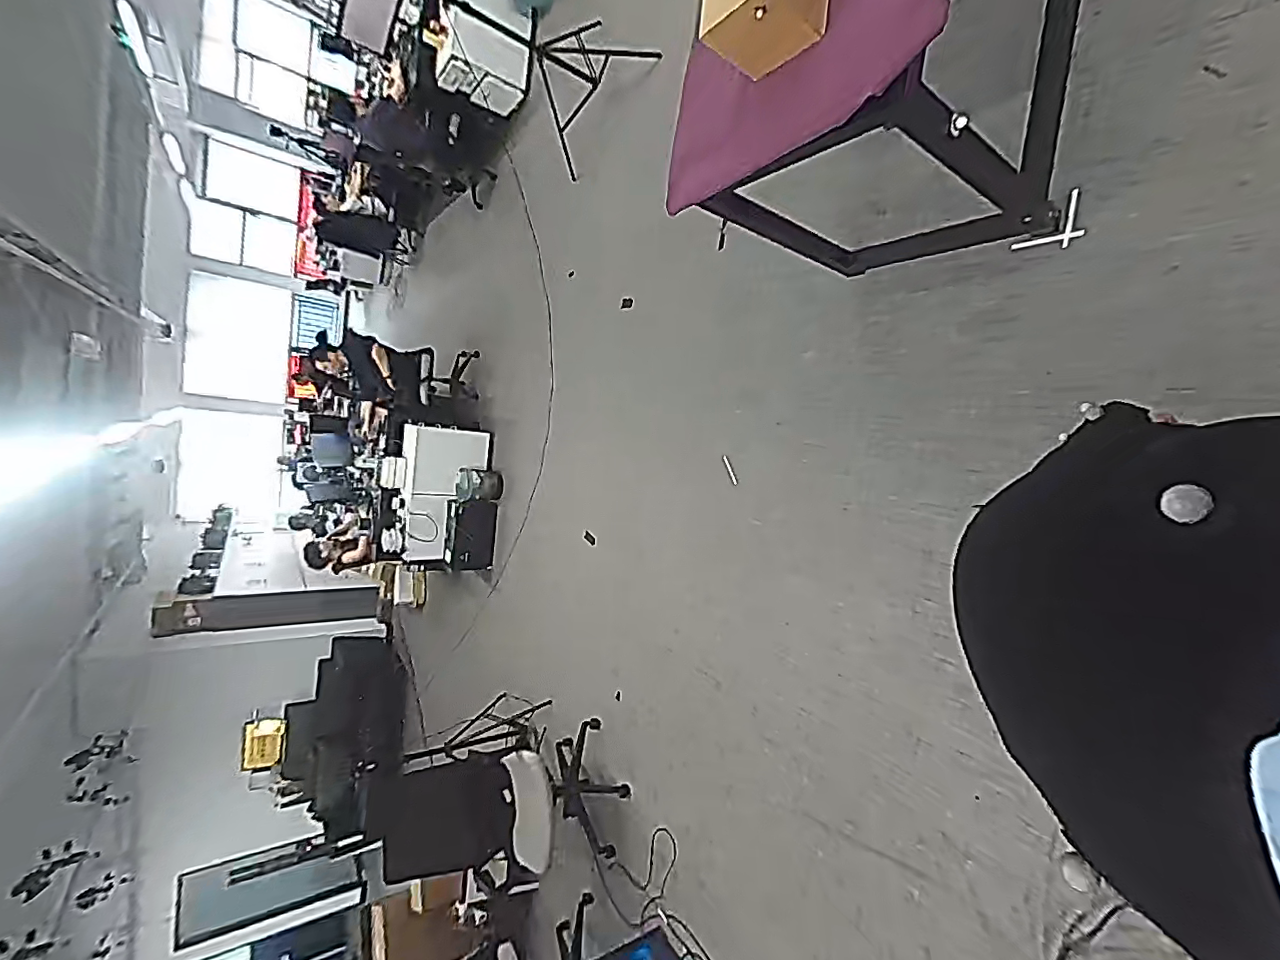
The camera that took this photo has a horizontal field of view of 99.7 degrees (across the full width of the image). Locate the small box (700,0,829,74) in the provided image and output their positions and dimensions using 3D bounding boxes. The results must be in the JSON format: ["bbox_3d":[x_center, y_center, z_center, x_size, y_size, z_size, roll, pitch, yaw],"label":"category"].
[{"bbox_3d":[0.241,-0.932,1.032,0.179,0.176,0.168,10,94,54],"label":"small box"}]
